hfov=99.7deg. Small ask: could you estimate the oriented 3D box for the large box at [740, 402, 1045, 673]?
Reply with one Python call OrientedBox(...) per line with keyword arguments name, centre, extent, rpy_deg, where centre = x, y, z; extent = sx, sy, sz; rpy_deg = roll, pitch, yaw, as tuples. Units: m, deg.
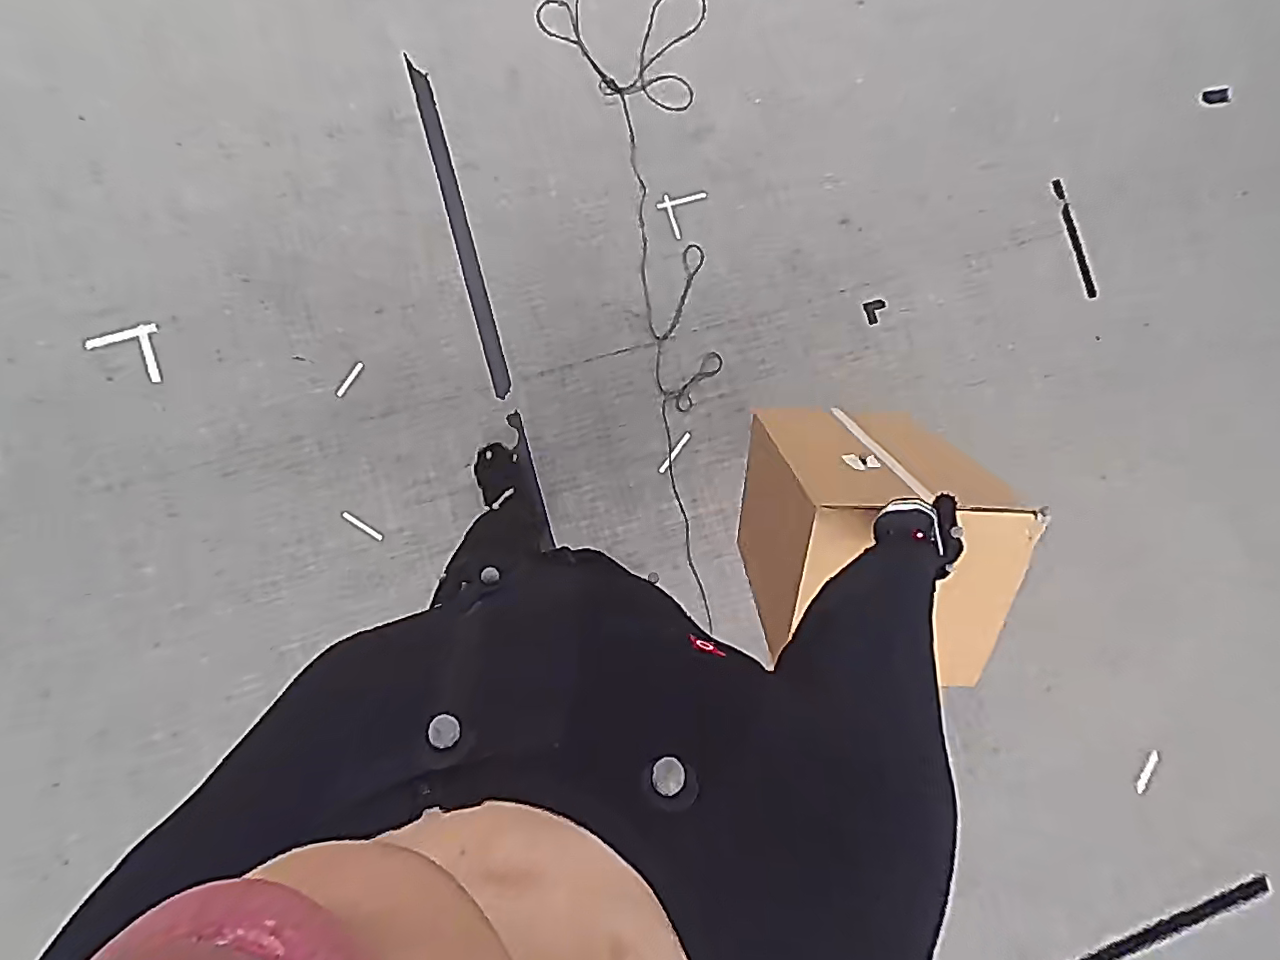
OrientedBox(name="large box", centre=(0.384, 0.080, 0.964), extent=(0.320, 0.408, 0.320), rpy_deg=(1, 118, -1))
